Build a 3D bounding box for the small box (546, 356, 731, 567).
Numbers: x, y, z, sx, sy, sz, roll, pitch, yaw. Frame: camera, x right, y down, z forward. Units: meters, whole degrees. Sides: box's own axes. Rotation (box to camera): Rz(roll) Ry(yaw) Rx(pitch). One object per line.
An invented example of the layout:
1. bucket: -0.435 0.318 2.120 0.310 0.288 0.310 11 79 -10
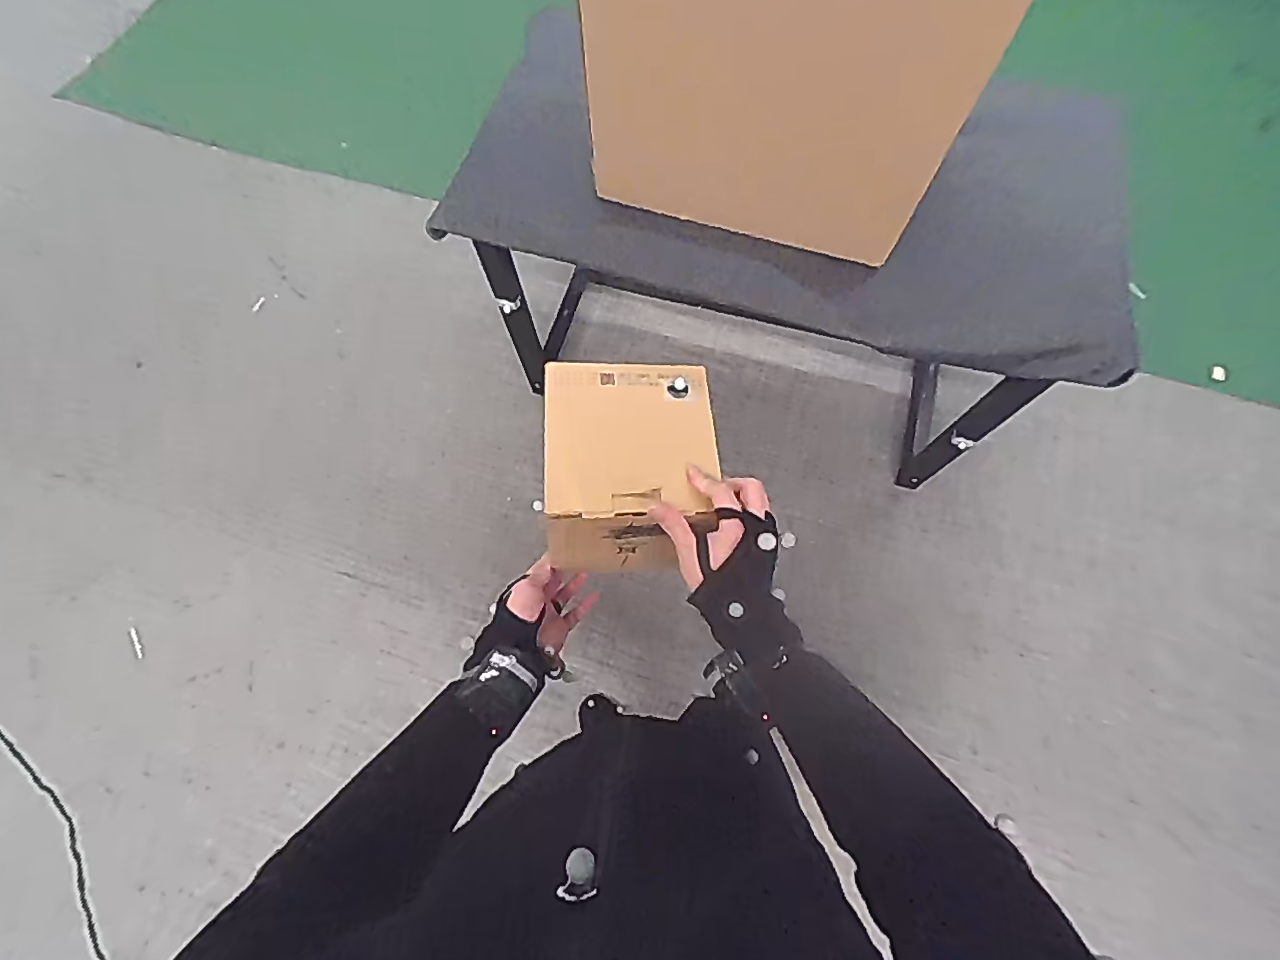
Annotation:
1. small box: -0.016 -0.015 0.579 0.168 0.179 0.176 1 63 -9
